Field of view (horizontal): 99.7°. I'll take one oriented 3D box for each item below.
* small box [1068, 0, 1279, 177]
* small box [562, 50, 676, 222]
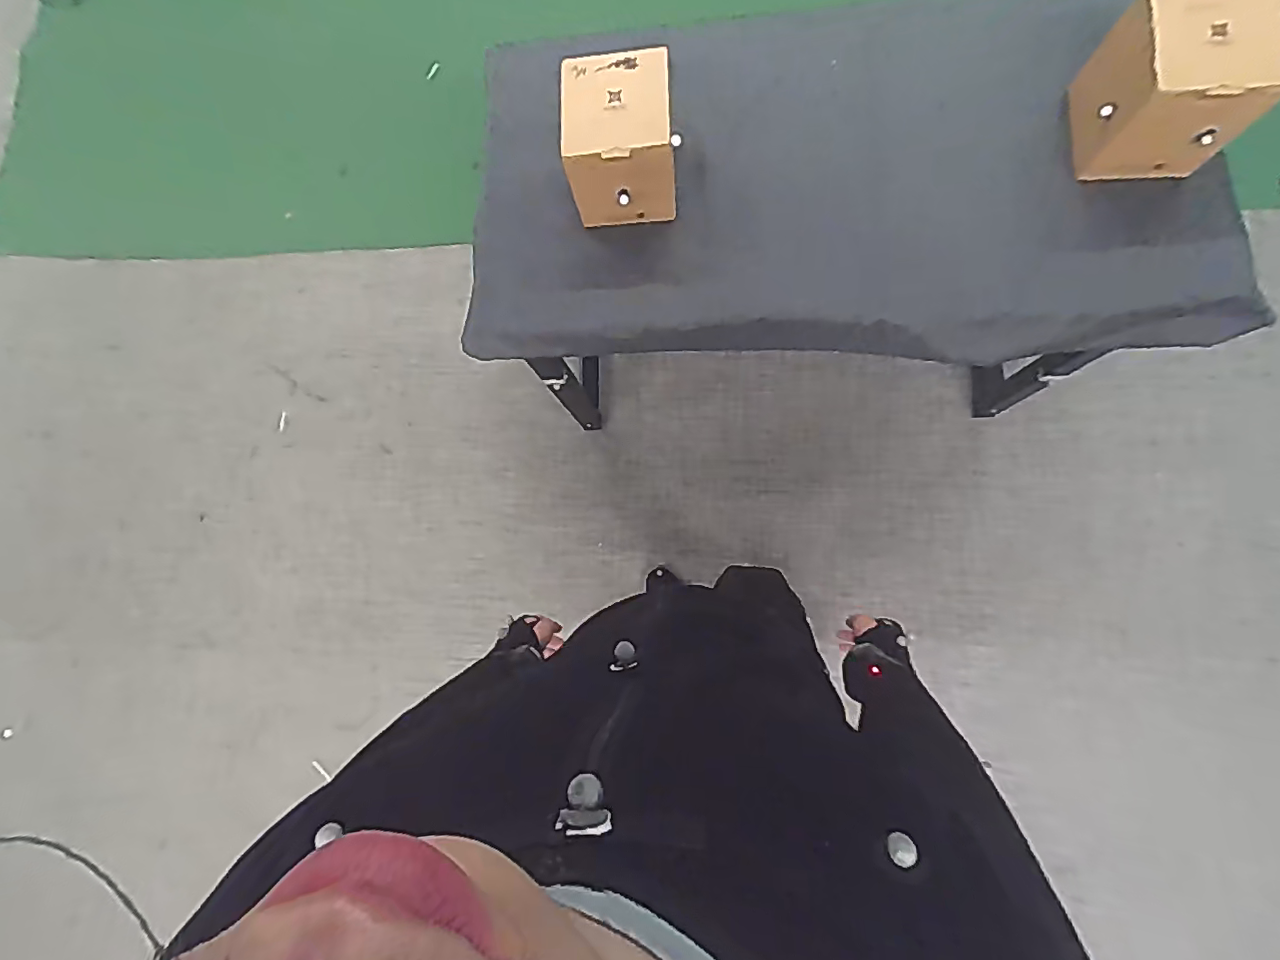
[{"bbox_3d":[0.775,-0.575,0.795,0.168,0.176,0.179,2,79,7],"label":"small box"},{"bbox_3d":[-0.027,-0.548,0.890,0.168,0.176,0.179,-2,80,6],"label":"small box"}]
